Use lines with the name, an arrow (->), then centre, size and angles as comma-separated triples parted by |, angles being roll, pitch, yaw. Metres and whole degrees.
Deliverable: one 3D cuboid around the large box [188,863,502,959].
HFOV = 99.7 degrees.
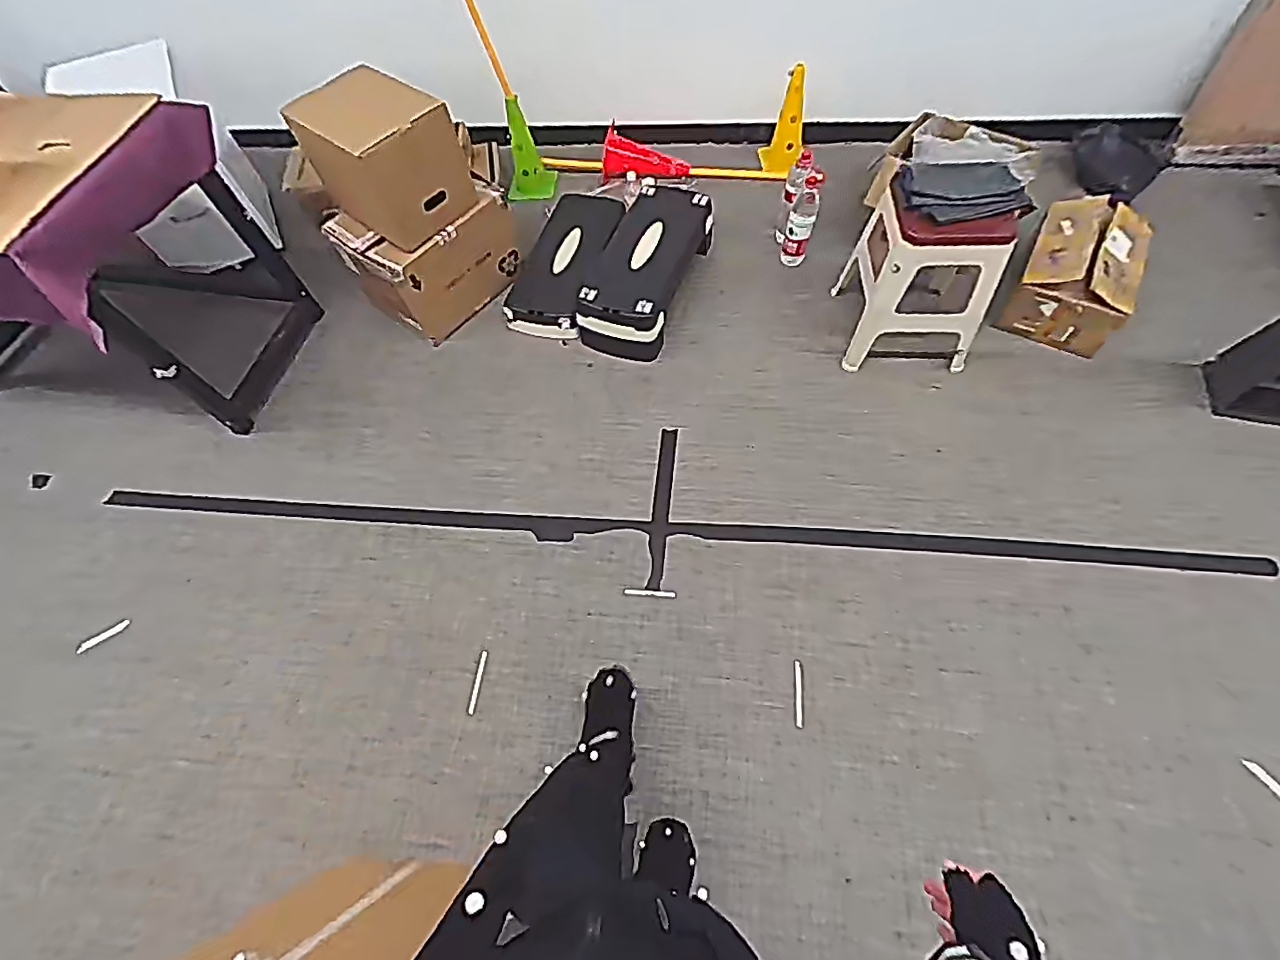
large box -> -0.398, 0.736, 0.645 | 0.320, 0.408, 0.320 | -8, 78, 16
